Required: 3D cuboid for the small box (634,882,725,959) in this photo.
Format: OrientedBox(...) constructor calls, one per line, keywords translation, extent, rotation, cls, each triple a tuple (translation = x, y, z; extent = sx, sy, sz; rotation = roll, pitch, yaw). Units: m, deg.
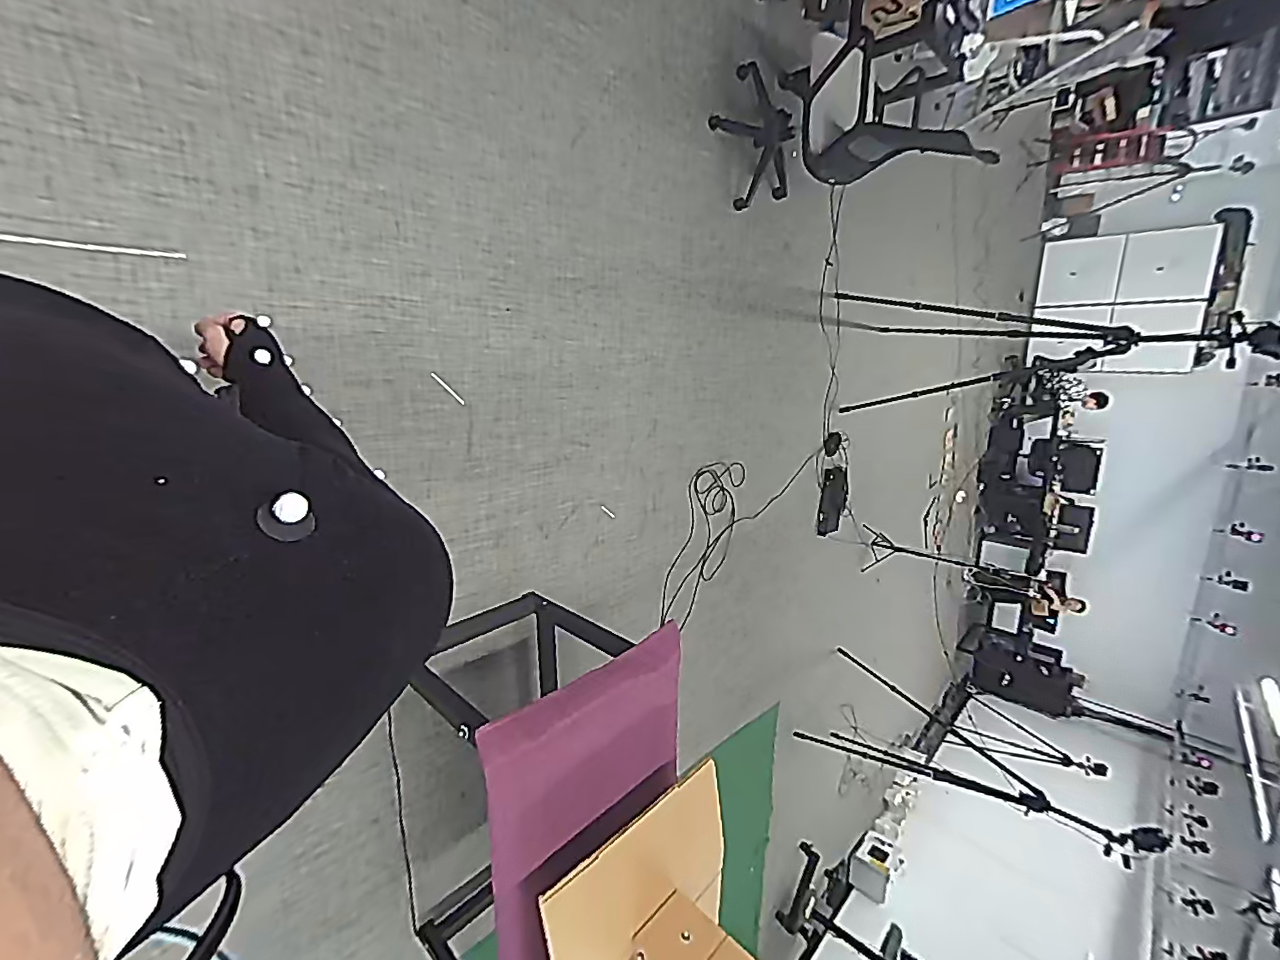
OrientedBox(translation=(0.098, 1.213, 1.401), extent=(0.179, 0.176, 0.168), rotation=(-17, 114, -44), cls="small box")
